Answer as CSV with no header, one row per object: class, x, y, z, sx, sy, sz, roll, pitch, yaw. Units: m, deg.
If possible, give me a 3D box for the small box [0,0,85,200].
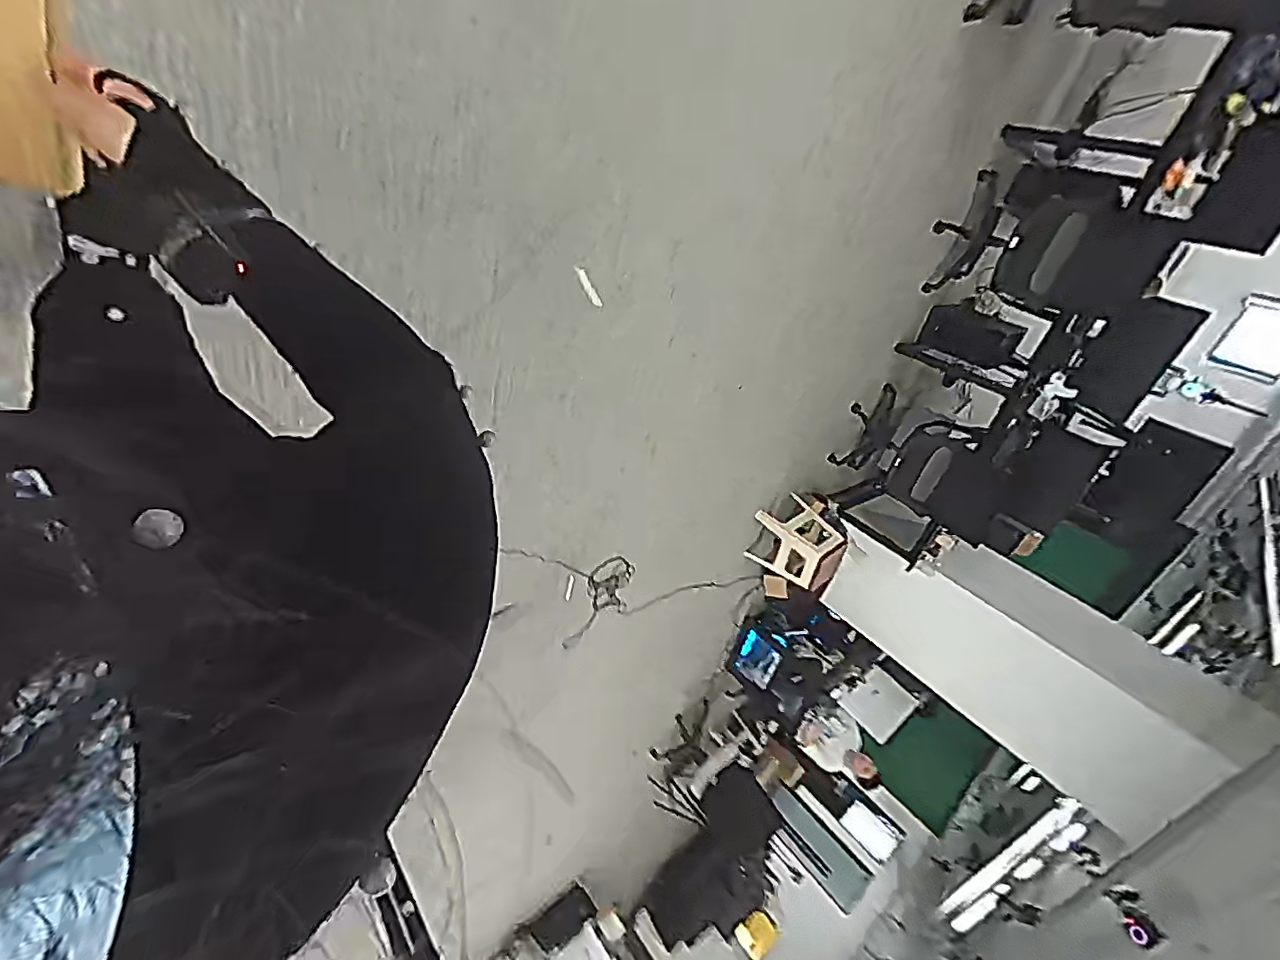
small box,-0.545,-0.334,0.407,0.168,0.176,0.179,-3,117,-41
